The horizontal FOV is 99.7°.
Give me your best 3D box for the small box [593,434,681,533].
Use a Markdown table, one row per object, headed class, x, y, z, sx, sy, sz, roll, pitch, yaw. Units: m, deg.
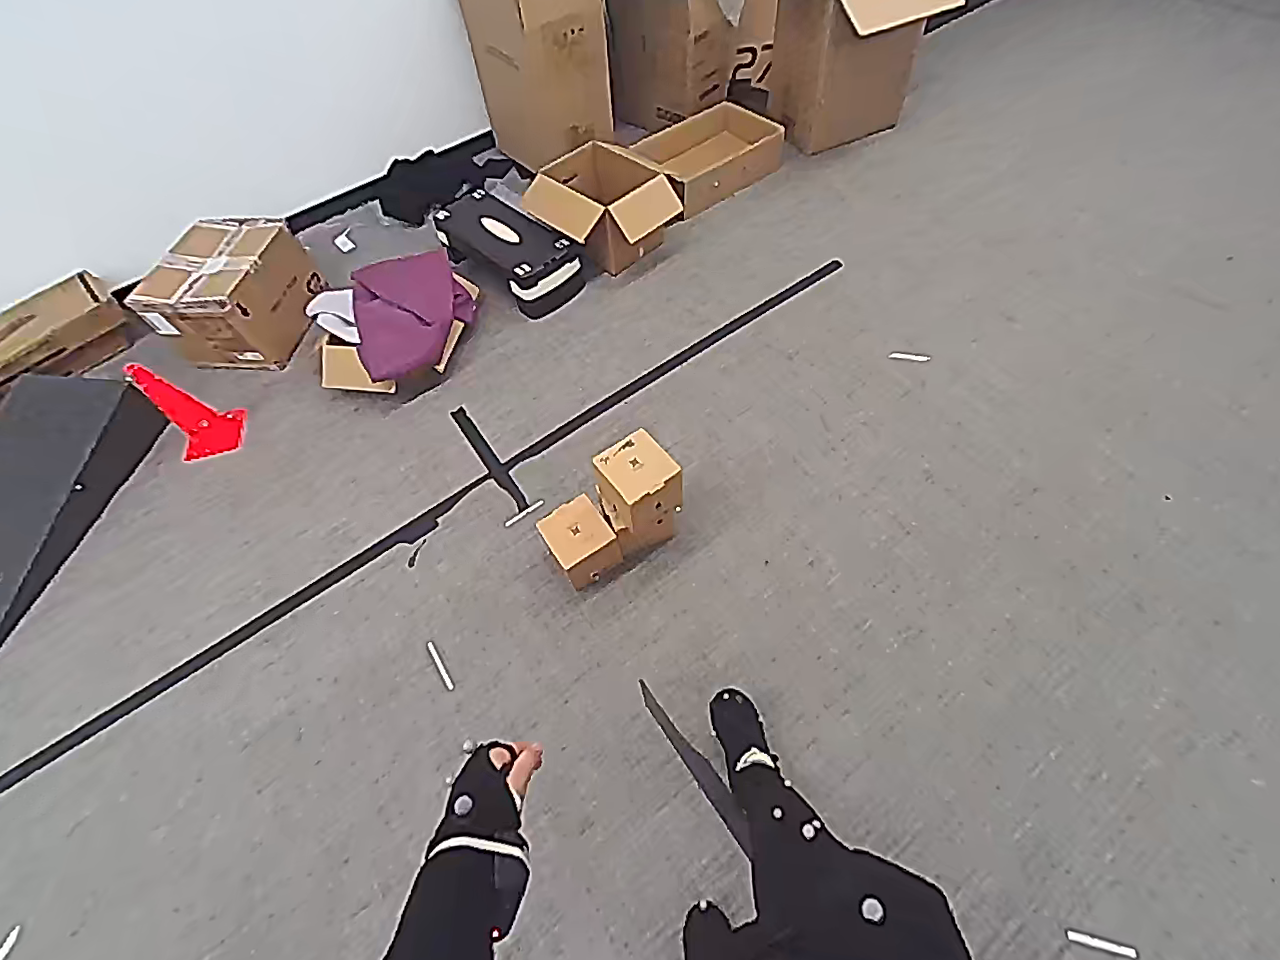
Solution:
| class | x | y | z | sx | sy | sz | roll | pitch | yaw |
| --- | --- | --- | --- | --- | --- | --- | --- | --- | --- |
| small box | -0.003 | 0.019 | 1.437 | 0.168 | 0.176 | 0.179 | -33 | 61 | -15 |
